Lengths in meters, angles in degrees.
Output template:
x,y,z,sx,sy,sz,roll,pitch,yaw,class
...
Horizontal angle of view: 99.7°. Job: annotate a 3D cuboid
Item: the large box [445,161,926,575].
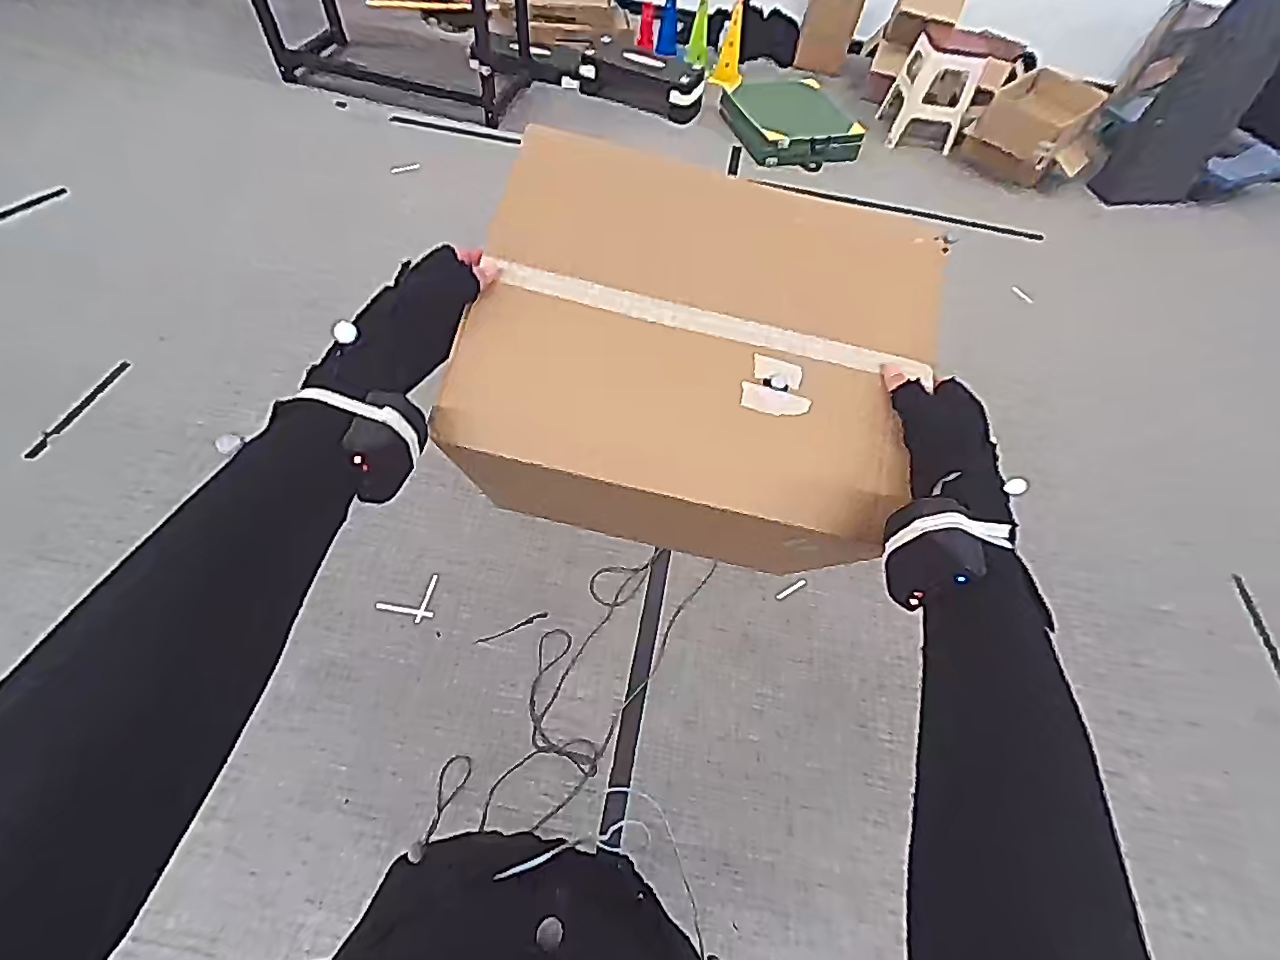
x,y,z,sx,sy,sz,roll,pitch,yaw,class
0.045,-0.088,0.633,0.408,0.320,0.320,13,76,-2,large box
